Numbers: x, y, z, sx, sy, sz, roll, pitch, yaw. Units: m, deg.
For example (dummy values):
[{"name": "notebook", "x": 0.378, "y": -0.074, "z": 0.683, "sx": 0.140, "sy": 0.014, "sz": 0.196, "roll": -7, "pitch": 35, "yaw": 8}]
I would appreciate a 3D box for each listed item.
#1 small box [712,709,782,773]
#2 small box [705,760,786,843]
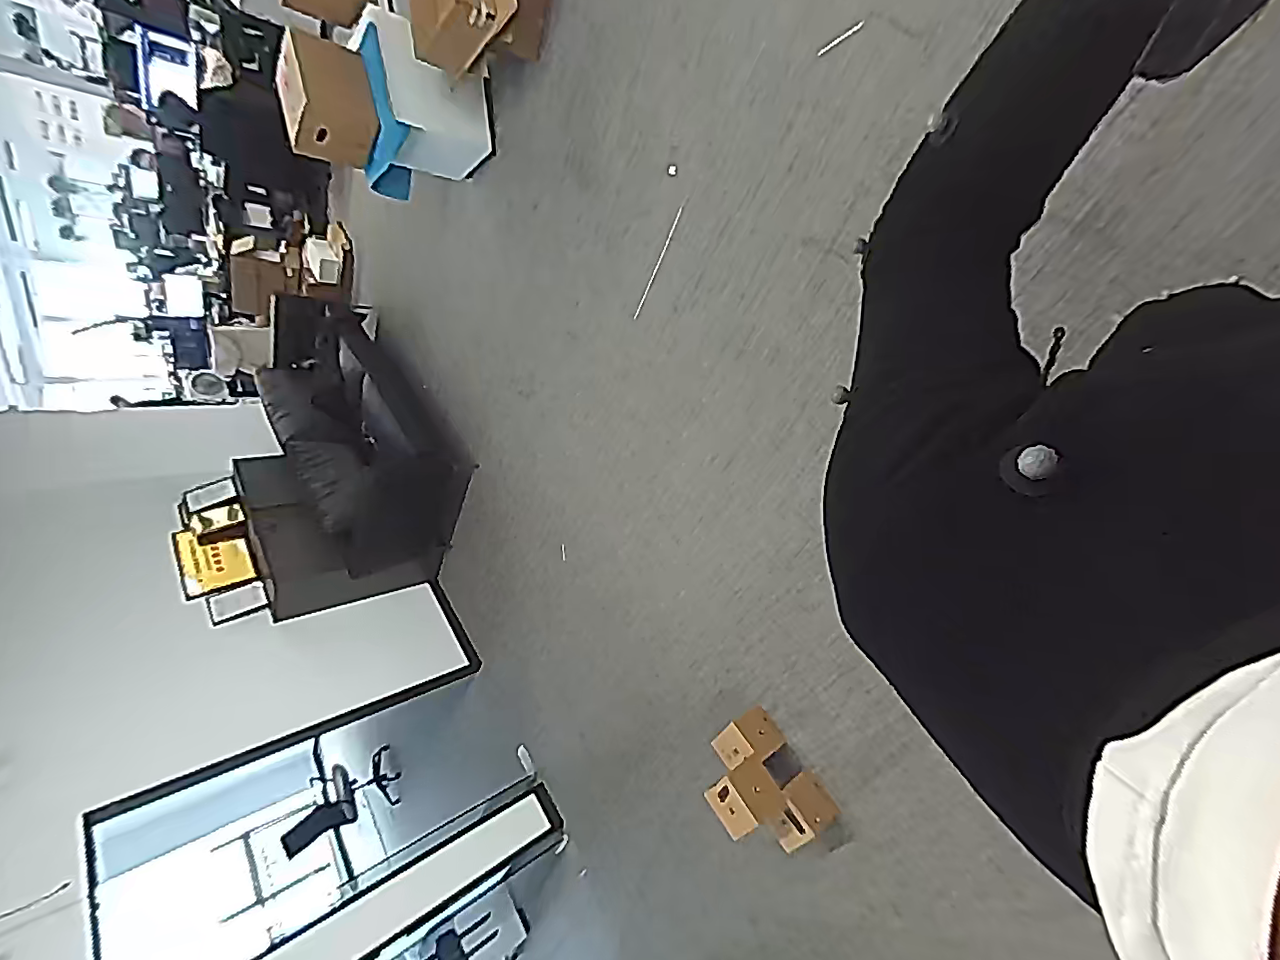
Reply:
[{"name": "small box", "x": 0.415, "y": 1.009, "z": 2.060, "sx": 0.168, "sy": 0.176, "sz": 0.179, "roll": 50, "pitch": 129, "yaw": 28}, {"name": "small box", "x": 0.369, "y": 1.112, "z": 1.887, "sx": 0.179, "sy": 0.176, "sz": 0.168, "roll": 51, "pitch": 130, "yaw": 27}]
